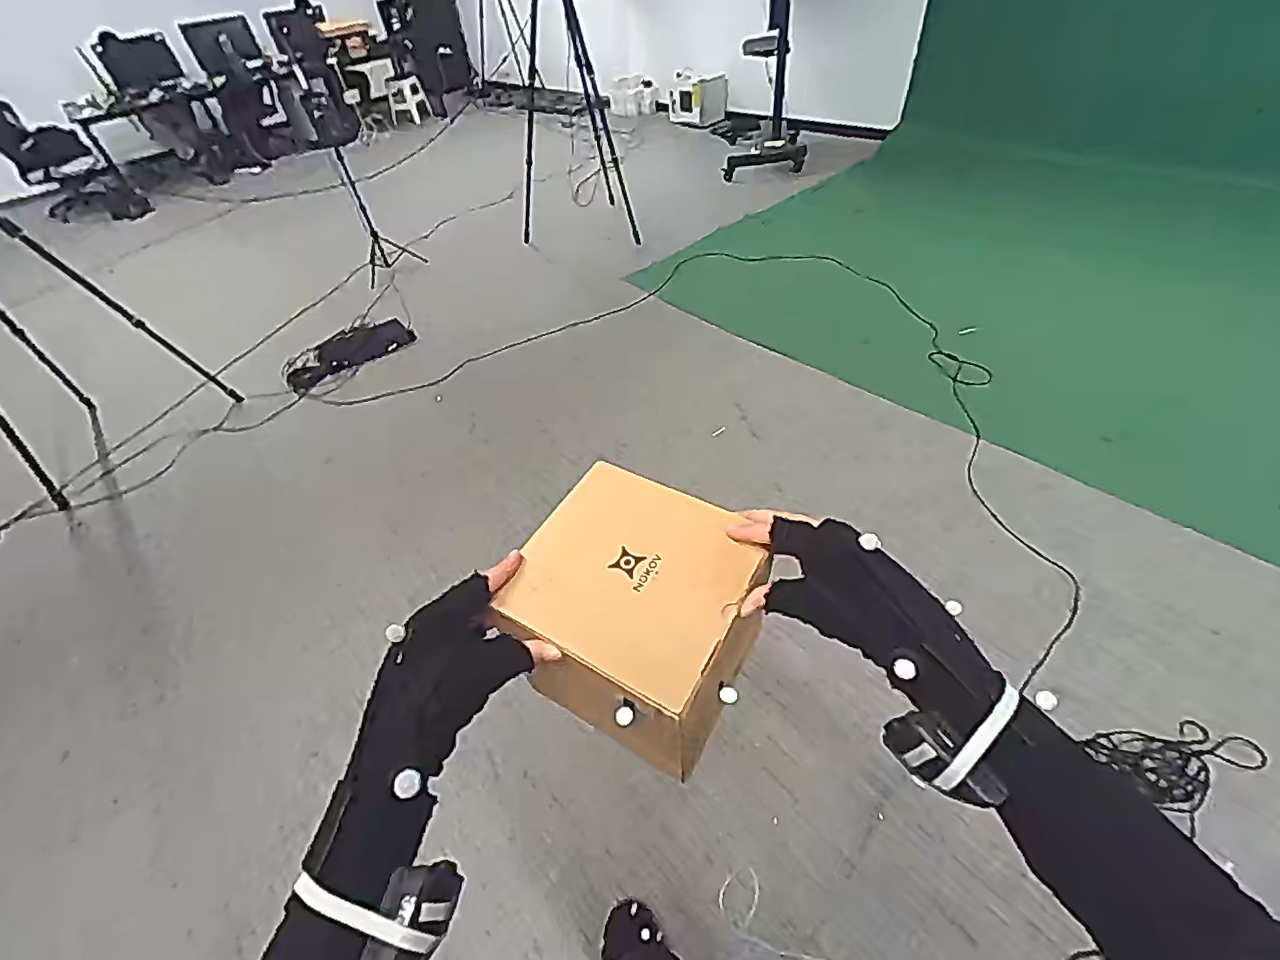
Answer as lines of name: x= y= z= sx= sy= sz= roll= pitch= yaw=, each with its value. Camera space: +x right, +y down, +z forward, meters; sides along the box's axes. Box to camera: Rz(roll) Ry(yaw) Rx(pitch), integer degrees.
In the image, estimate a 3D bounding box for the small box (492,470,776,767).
small box: x=0.003 y=0.125 z=0.490 sx=0.179 sy=0.176 sz=0.168 roll=22 pitch=54 yaw=23
